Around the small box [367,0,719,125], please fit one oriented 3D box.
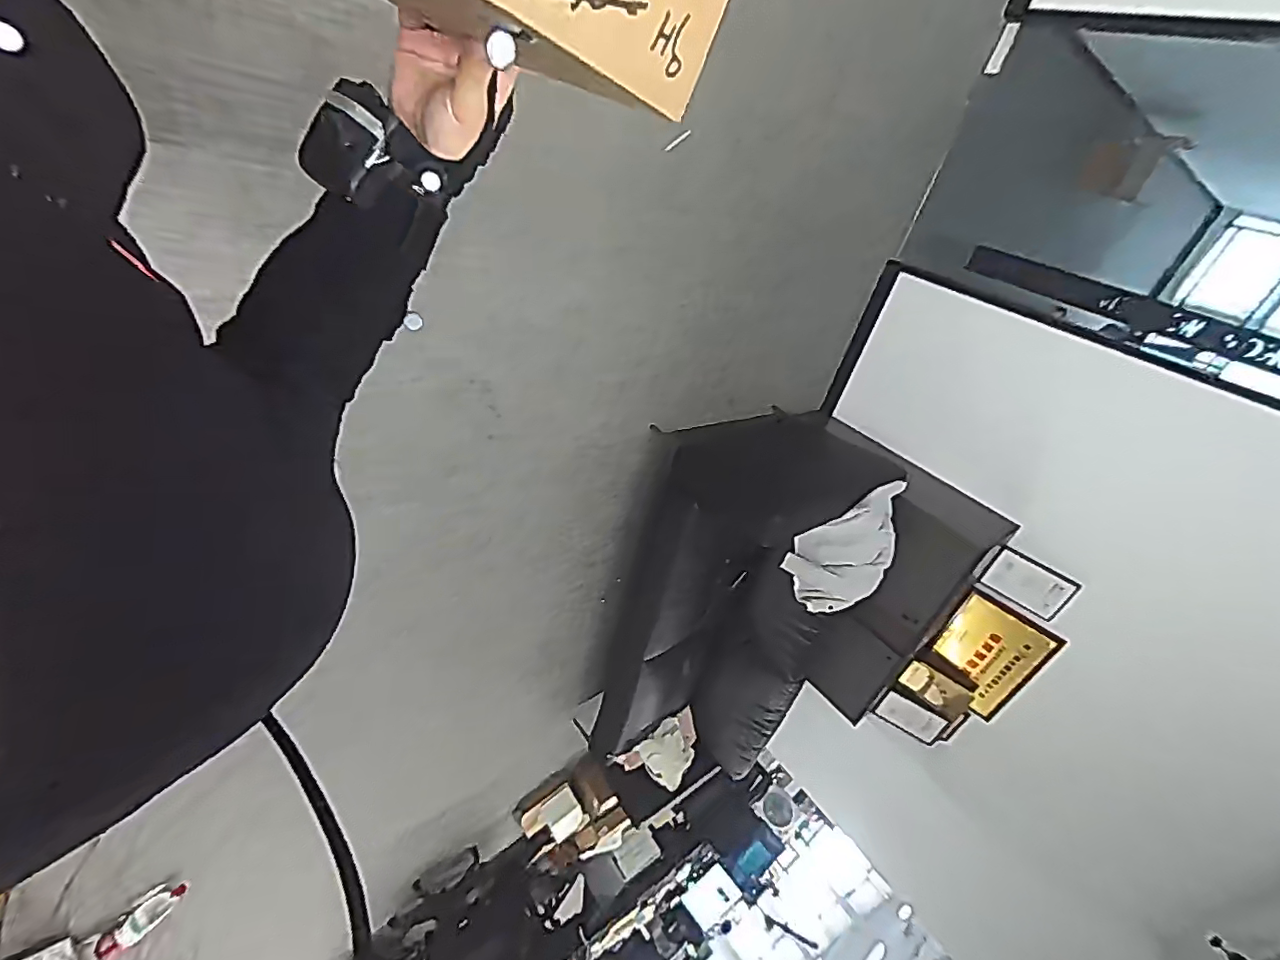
[{"bbox_3d":[-0.059,-0.290,0.223,0.168,0.176,0.179,-18,138,-52],"label":"small box"}]
